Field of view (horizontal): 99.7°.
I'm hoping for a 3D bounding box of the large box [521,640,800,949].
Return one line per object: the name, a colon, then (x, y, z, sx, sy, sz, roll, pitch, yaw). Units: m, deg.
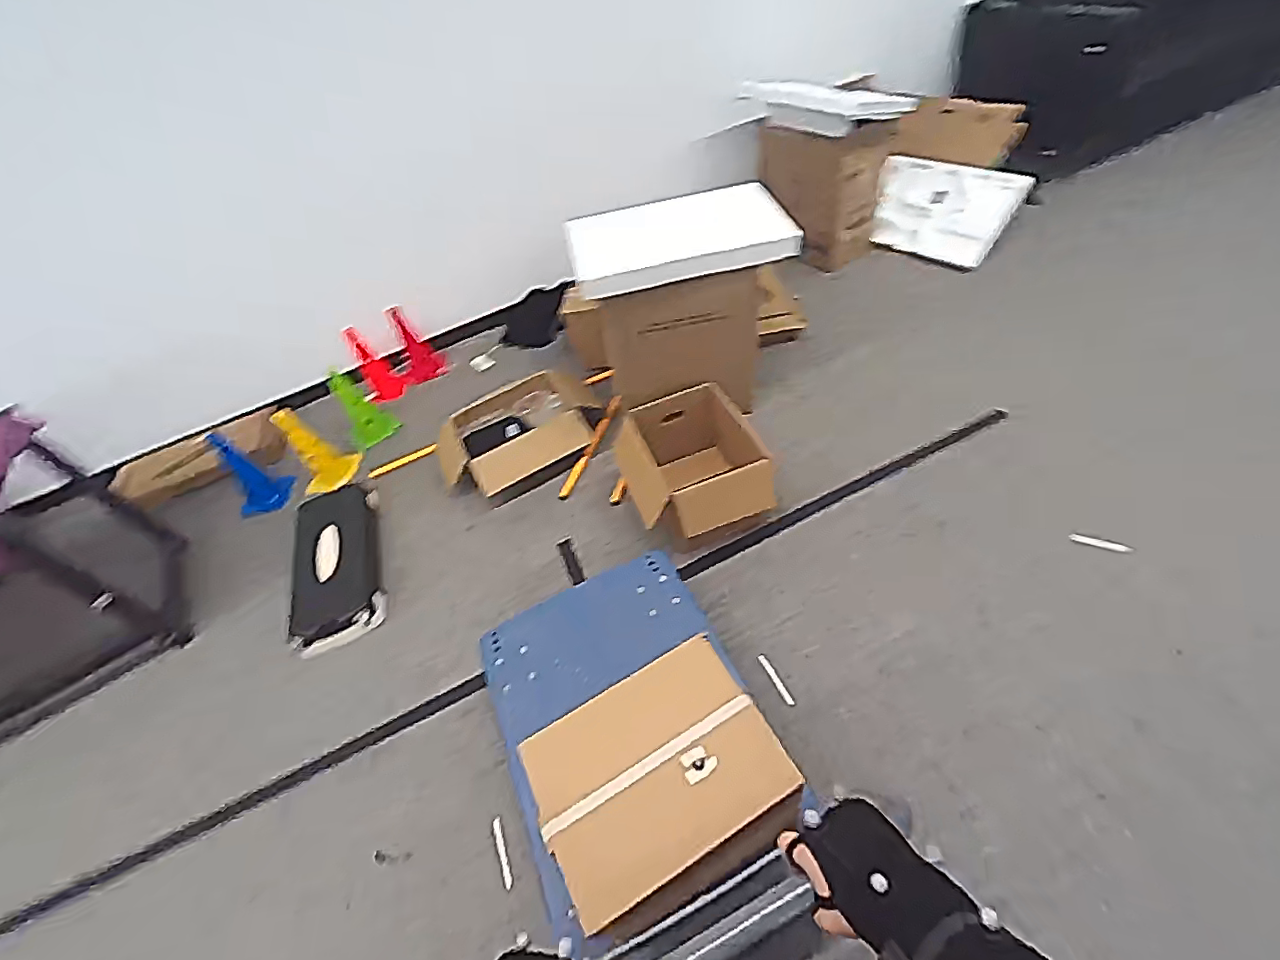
large box: (0.045, 0.597, 1.041, 0.408, 0.320, 0.320, -28, 49, -14)
